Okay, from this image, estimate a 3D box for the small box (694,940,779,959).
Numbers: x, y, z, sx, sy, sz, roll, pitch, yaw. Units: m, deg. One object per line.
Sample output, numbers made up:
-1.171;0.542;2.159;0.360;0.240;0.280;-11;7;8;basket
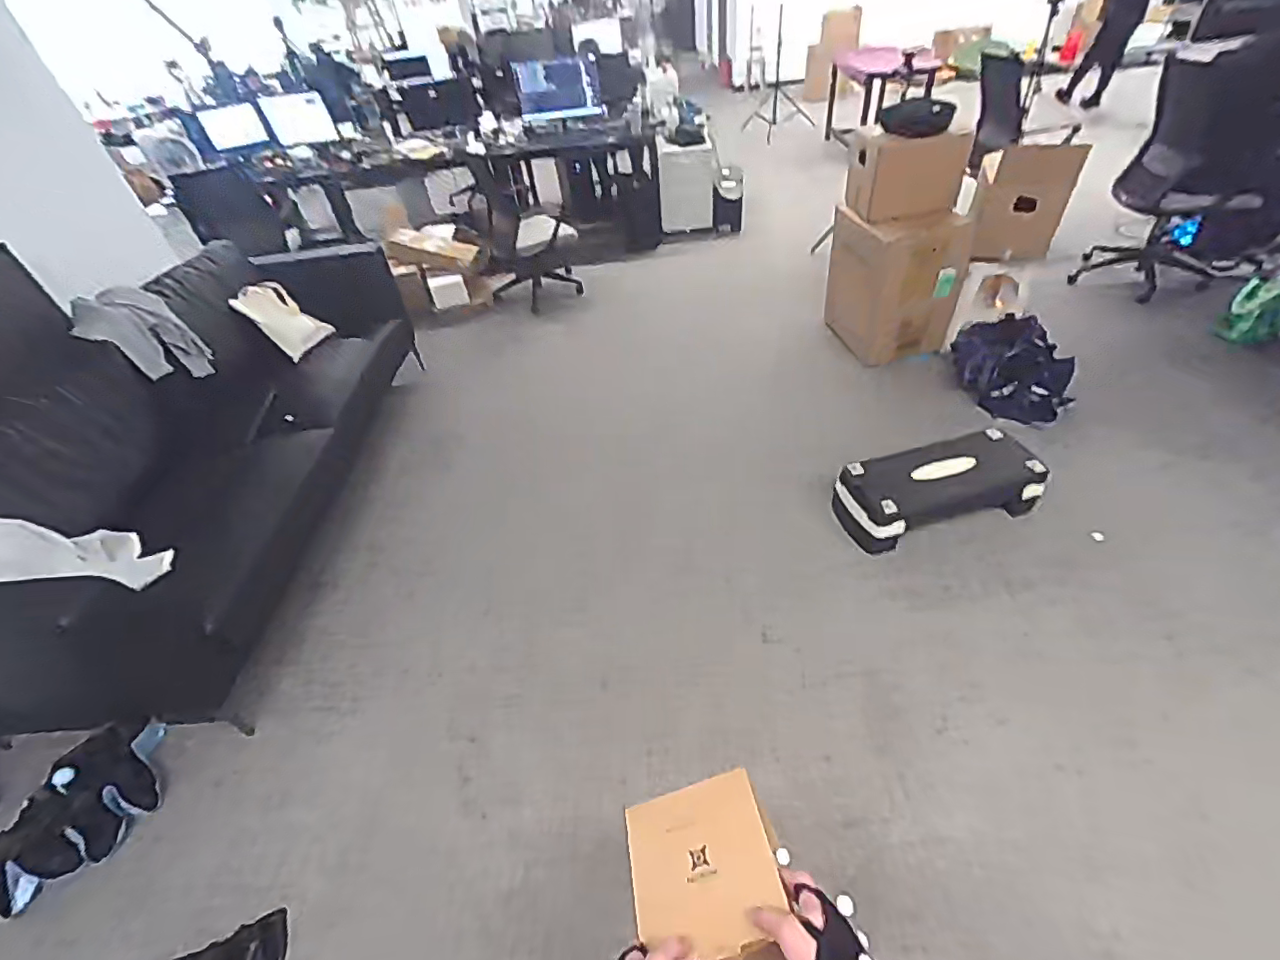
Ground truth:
0.192;1.026;1.053;0.168;0.176;0.179;-4;43;6;small box
